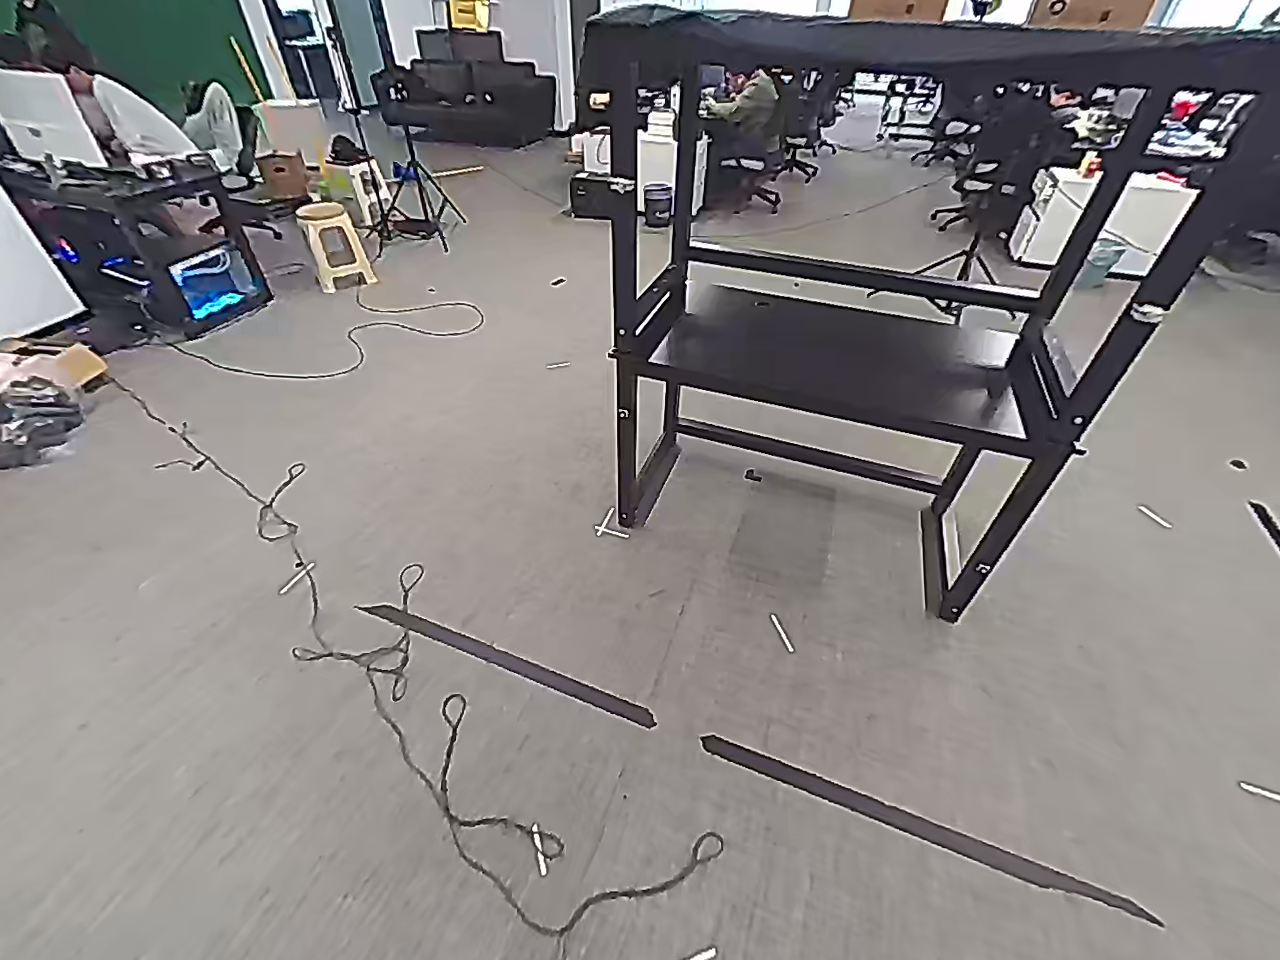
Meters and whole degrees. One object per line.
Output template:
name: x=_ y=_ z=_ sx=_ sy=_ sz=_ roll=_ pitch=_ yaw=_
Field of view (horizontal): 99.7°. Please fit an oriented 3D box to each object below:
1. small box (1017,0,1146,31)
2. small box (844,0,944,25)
small box: x=0.758 y=-0.859 z=0.897 sx=0.168 sy=0.176 sz=0.179 roll=18 pitch=42 yaw=18
small box: x=0.476 y=-0.931 z=0.969 sx=0.168 sy=0.176 sz=0.179 roll=15 pitch=41 yaw=16
